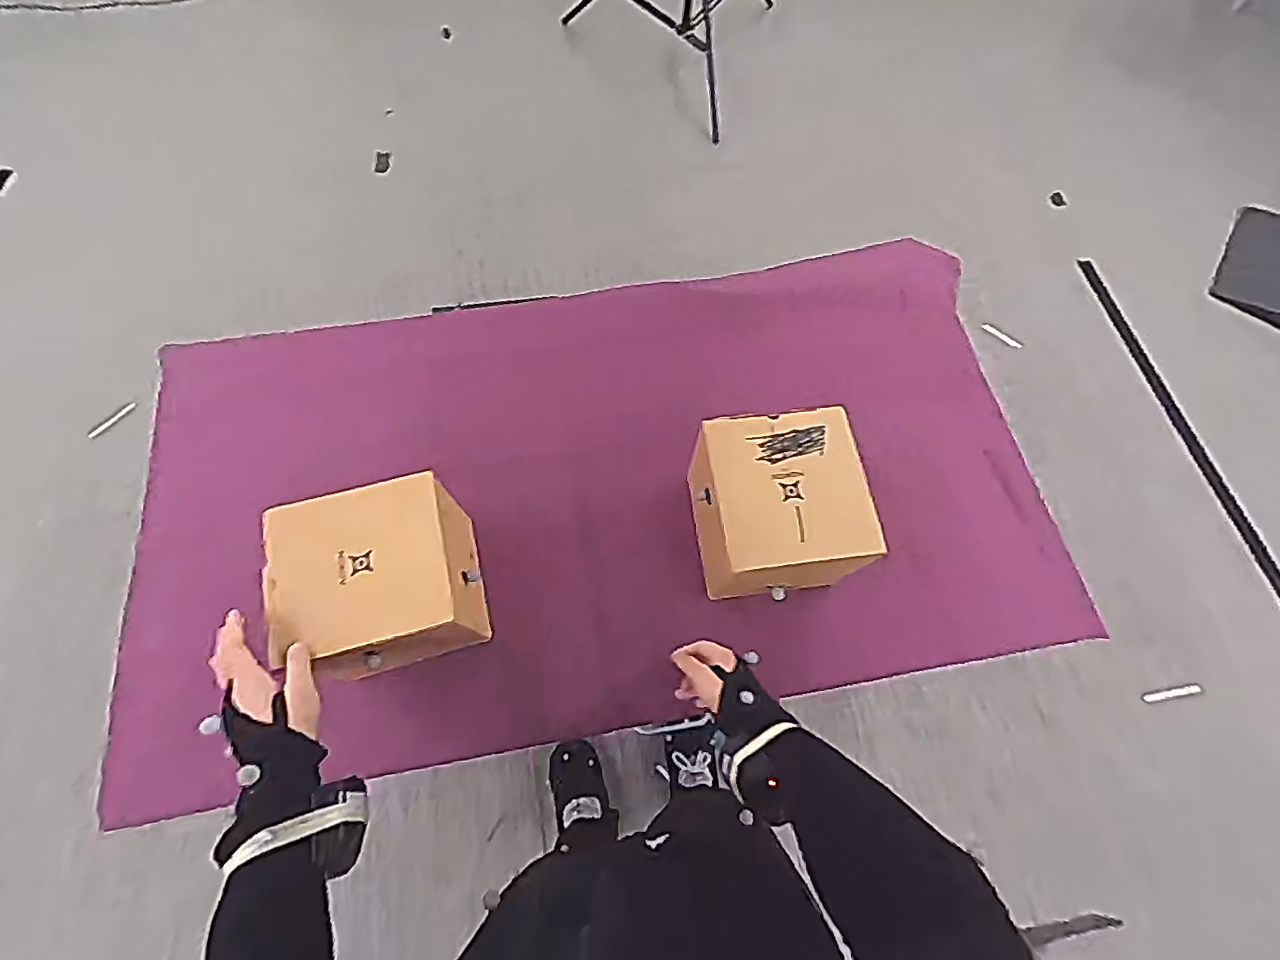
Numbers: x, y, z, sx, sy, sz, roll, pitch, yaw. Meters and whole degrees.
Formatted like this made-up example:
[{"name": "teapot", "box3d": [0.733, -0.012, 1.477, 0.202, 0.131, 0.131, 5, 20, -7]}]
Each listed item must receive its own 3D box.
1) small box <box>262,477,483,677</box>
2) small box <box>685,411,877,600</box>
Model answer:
[{"name": "small box", "box3d": [-0.289, 0.118, 0.617, 0.179, 0.176, 0.168, -15, 69, -7]}, {"name": "small box", "box3d": [0.154, 0.038, 0.659, 0.168, 0.176, 0.179, -6, 69, -4]}]
